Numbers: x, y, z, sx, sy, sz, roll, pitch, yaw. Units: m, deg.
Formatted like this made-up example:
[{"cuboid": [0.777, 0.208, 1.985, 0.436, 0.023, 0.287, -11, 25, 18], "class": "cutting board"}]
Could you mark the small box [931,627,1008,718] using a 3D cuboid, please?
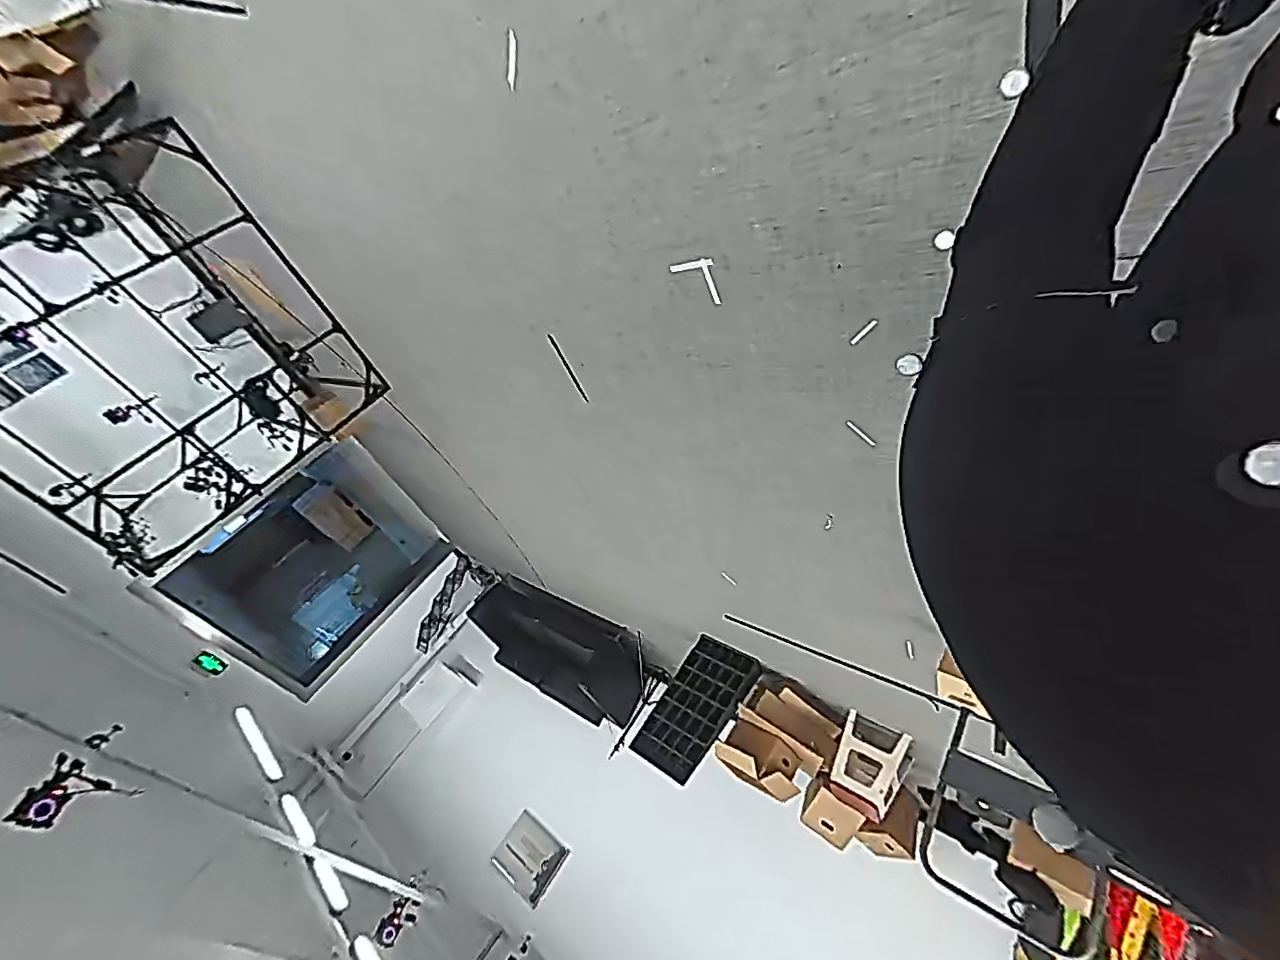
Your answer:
[{"cuboid": [1.006, 0.583, 1.651, 0.168, 0.176, 0.179, 15, 143, 40], "class": "small box"}]
